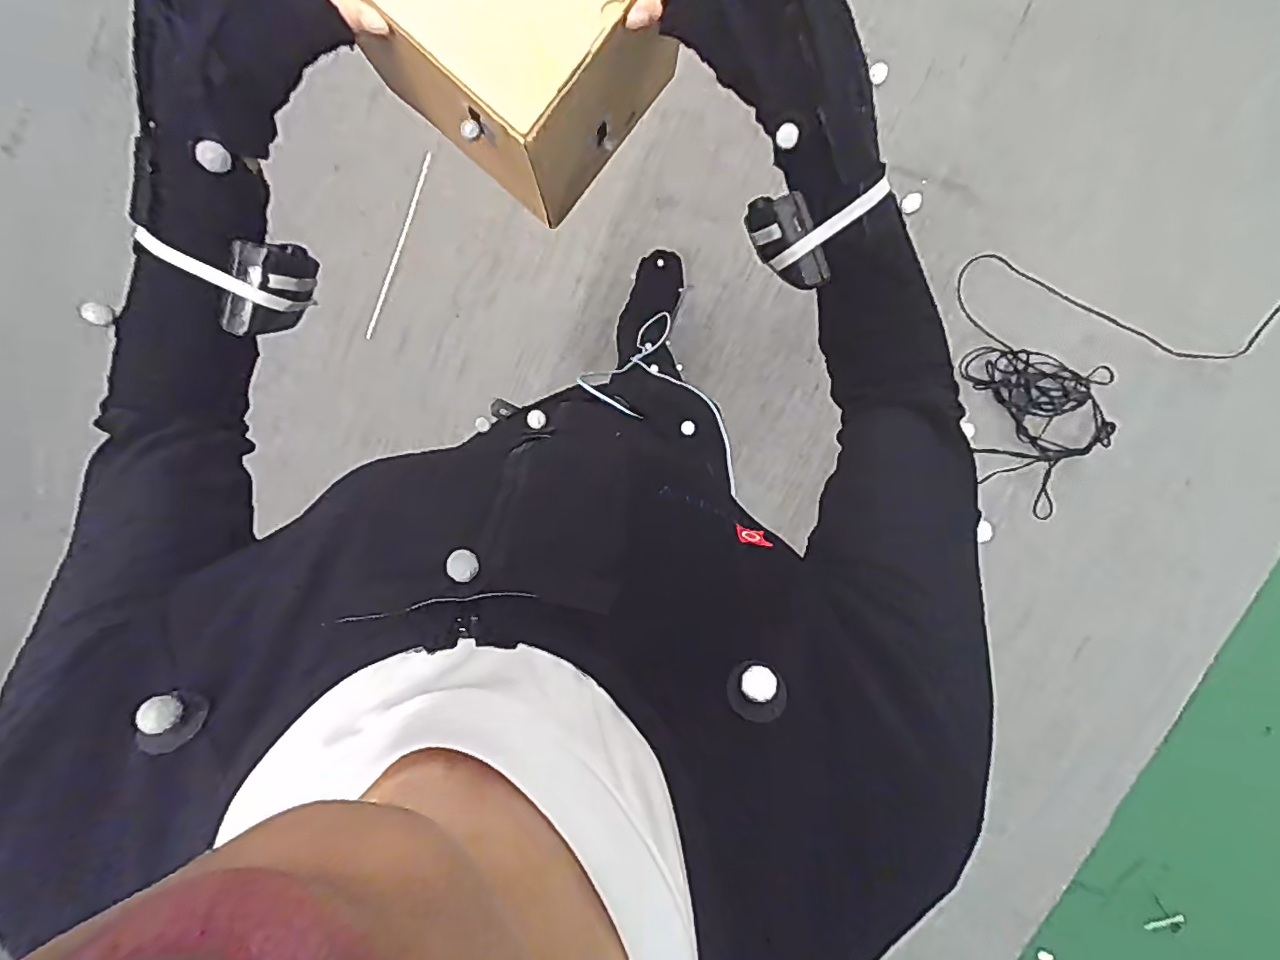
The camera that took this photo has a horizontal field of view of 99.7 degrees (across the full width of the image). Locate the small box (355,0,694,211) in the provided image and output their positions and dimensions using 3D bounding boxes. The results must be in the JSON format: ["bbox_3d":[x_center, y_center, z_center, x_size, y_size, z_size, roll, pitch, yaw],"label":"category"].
[{"bbox_3d":[-0.079,-0.327,0.373,0.179,0.176,0.168,40,94,-10],"label":"small box"}]
